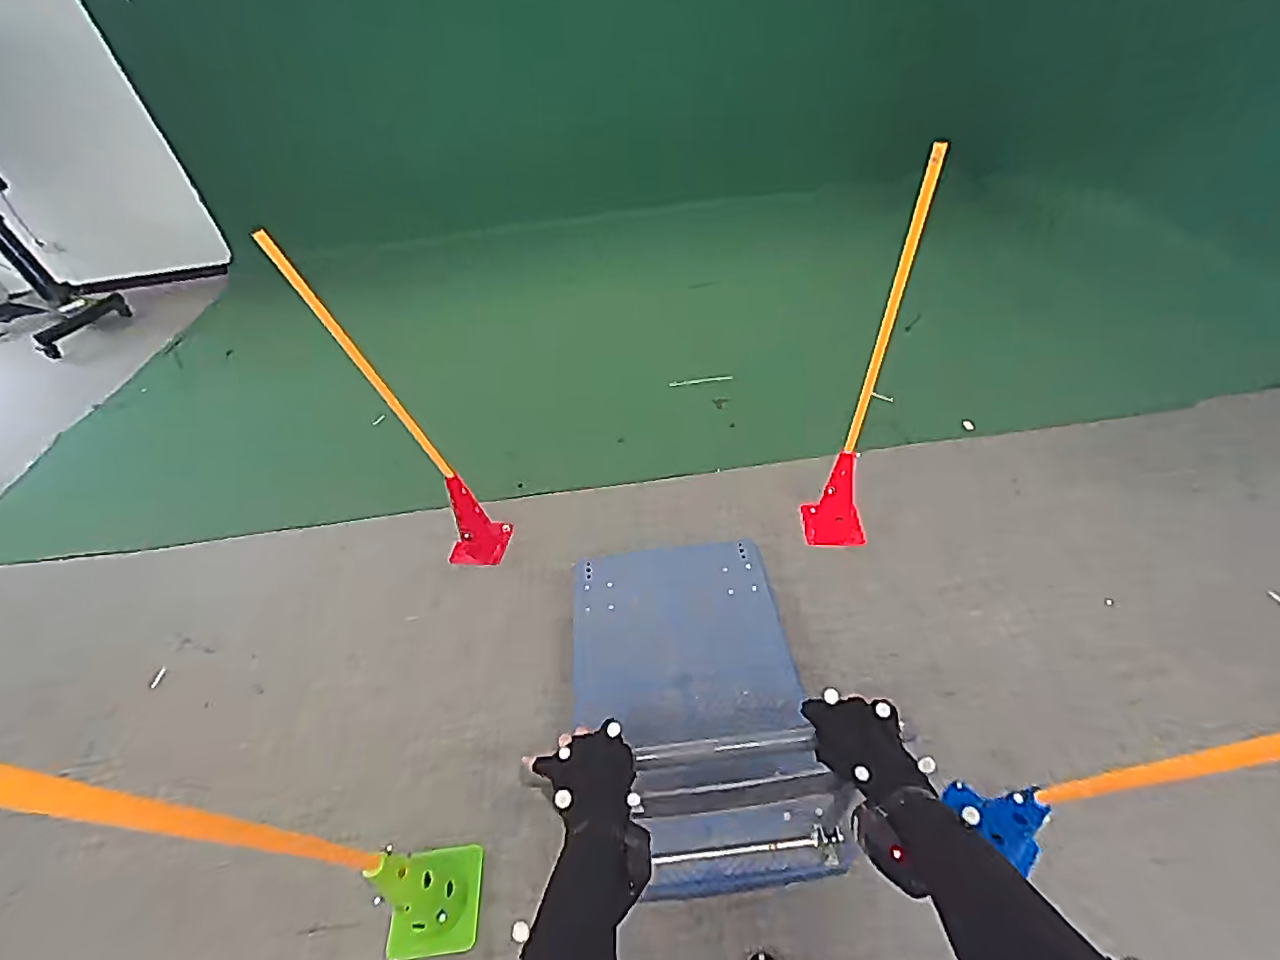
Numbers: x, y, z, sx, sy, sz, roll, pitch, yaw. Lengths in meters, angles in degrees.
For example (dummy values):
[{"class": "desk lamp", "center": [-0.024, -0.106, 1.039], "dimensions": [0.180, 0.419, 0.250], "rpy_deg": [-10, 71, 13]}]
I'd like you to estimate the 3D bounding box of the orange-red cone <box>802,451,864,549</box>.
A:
[{"class": "orange-red cone", "center": [0.671, 0.048, 1.823], "dimensions": [0.198, 0.360, 0.199], "rpy_deg": [0, 44, 8]}]
